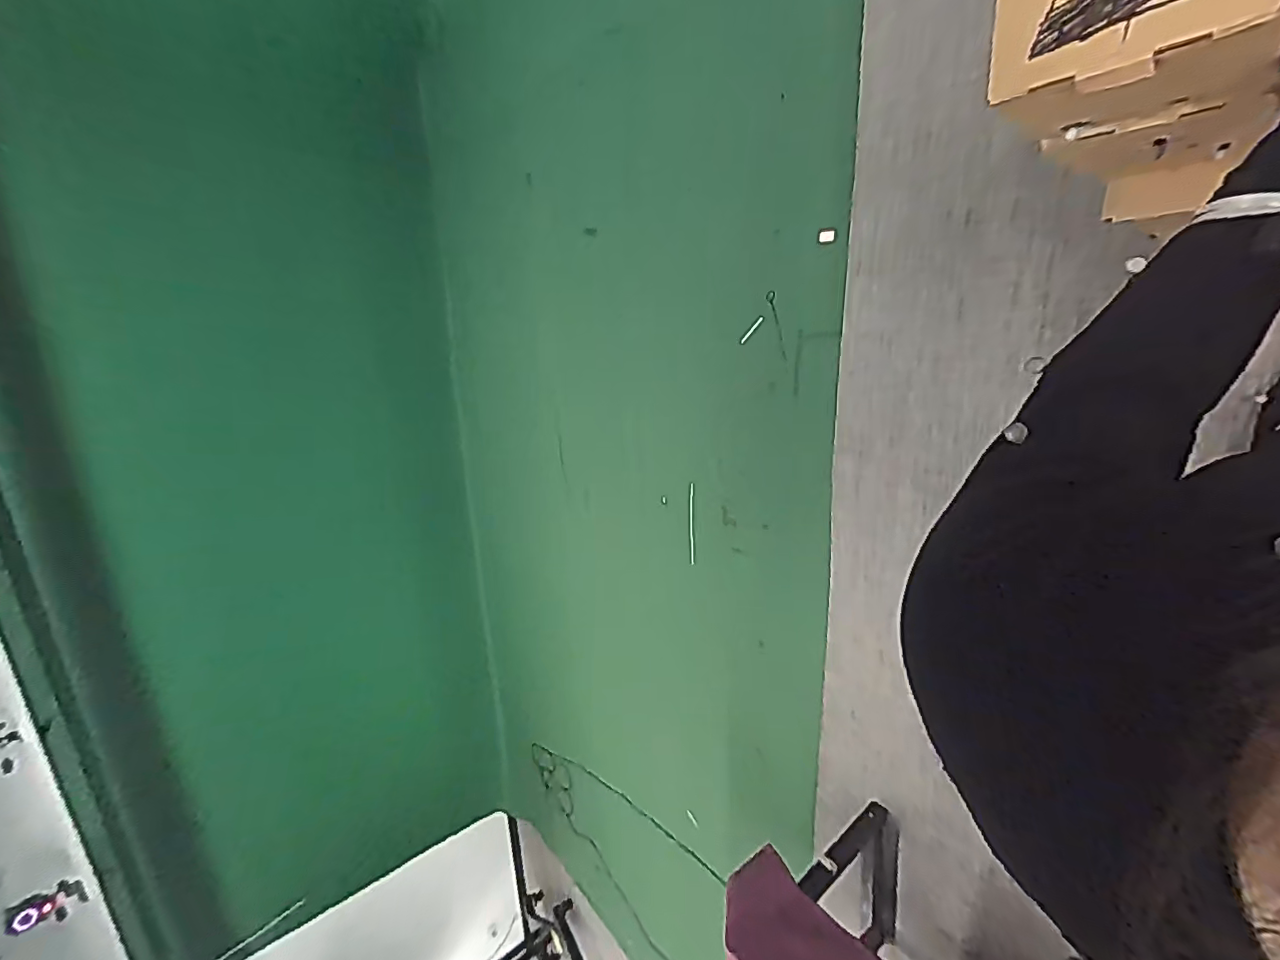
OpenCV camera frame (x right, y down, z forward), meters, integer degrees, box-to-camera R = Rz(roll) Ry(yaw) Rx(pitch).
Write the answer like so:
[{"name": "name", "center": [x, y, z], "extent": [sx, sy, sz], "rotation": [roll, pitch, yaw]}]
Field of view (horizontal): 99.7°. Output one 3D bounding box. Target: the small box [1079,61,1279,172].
[{"name": "small box", "center": [0.651, -0.476, 0.631], "extent": [0.168, 0.176, 0.179], "rotation": [17, 114, 46]}]

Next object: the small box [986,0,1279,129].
[{"name": "small box", "center": [0.404, -0.404, 0.428], "extent": [0.168, 0.176, 0.179], "rotation": [14, 111, 46]}]
